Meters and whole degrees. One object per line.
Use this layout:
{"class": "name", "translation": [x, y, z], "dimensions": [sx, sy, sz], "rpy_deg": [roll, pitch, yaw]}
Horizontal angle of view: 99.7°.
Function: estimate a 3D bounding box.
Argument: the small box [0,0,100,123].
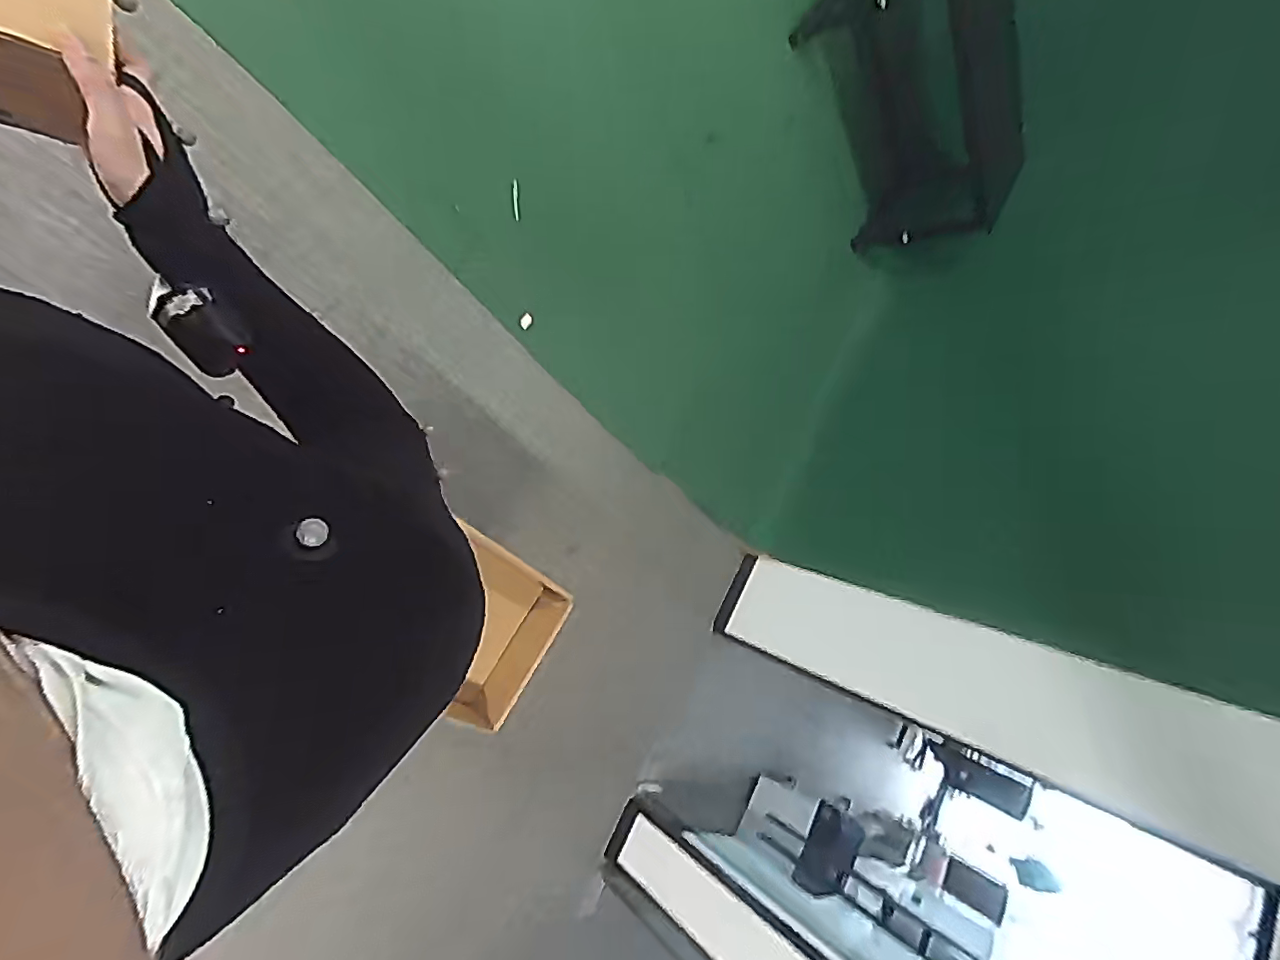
{"class": "small box", "translation": [-0.499, -0.394, 0.373], "dimensions": [0.168, 0.176, 0.179], "rpy_deg": [-5, 100, -47]}
